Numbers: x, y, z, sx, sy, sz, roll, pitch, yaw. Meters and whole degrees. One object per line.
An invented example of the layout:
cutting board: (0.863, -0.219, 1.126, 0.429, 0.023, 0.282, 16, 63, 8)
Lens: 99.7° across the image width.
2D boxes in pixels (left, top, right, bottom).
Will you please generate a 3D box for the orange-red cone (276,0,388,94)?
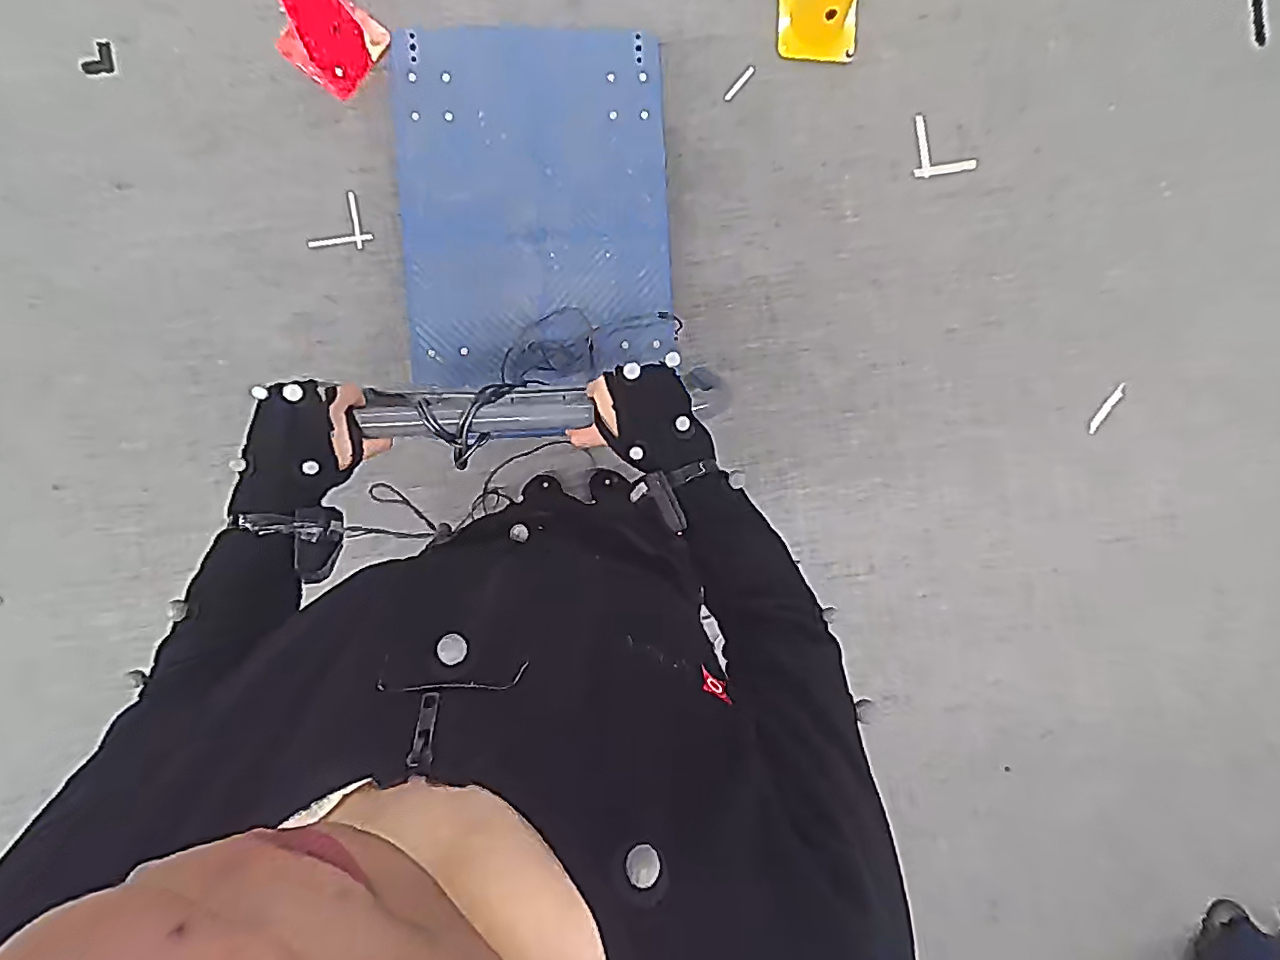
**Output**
orange-red cone: (-0.710, -1.037, 1.108, 0.198, 0.360, 0.199, 37, 88, -6)
